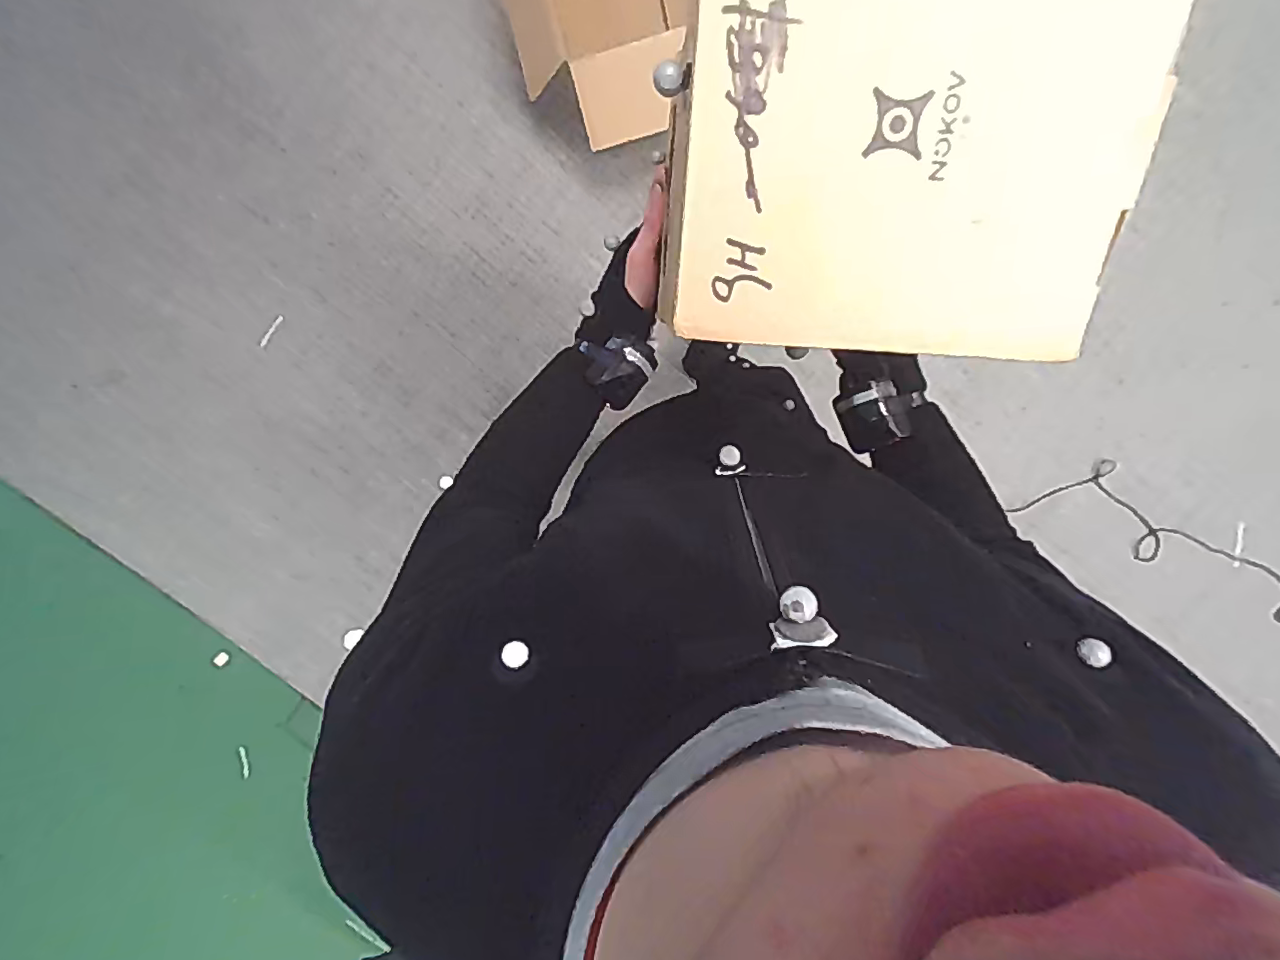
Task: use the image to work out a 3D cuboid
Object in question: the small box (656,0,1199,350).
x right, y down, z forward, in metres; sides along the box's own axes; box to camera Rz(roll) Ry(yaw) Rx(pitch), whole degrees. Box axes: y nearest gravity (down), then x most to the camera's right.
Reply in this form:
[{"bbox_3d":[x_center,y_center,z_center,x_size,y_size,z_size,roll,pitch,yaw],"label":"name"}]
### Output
[{"bbox_3d":[0.103,-0.164,0.271,0.179,0.176,0.168,3,109,-1],"label":"small box"}]
